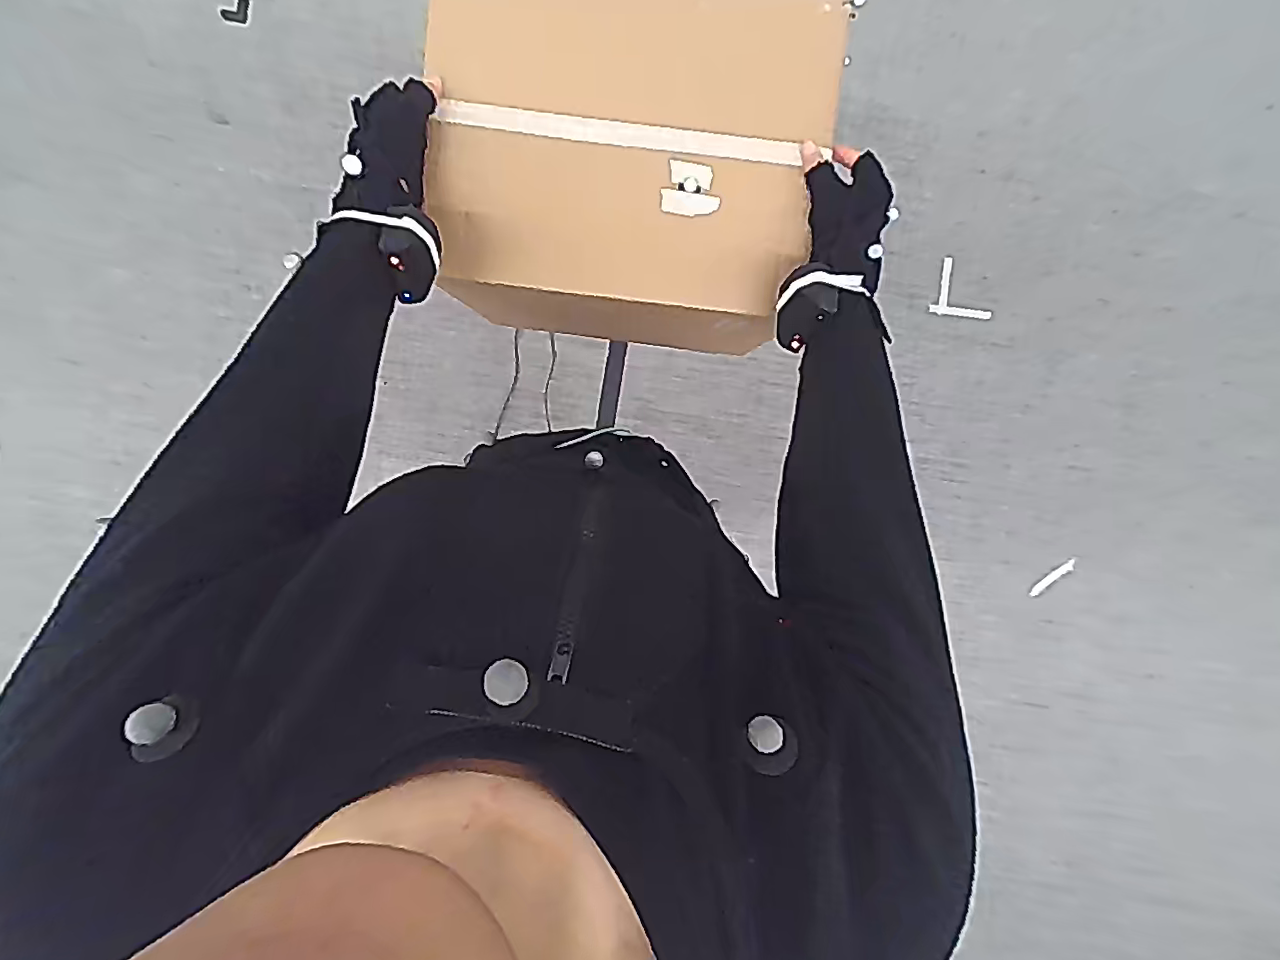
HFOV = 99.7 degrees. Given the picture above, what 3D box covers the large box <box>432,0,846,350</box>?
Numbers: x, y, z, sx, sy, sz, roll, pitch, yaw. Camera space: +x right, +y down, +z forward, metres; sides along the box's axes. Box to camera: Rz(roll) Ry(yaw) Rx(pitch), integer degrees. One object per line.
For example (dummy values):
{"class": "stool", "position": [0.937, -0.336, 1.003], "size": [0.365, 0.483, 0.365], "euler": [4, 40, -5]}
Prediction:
{"class": "large box", "position": [-0.010, -0.360, 0.696], "size": [0.408, 0.320, 0.320], "euler": [6, 97, -2]}
